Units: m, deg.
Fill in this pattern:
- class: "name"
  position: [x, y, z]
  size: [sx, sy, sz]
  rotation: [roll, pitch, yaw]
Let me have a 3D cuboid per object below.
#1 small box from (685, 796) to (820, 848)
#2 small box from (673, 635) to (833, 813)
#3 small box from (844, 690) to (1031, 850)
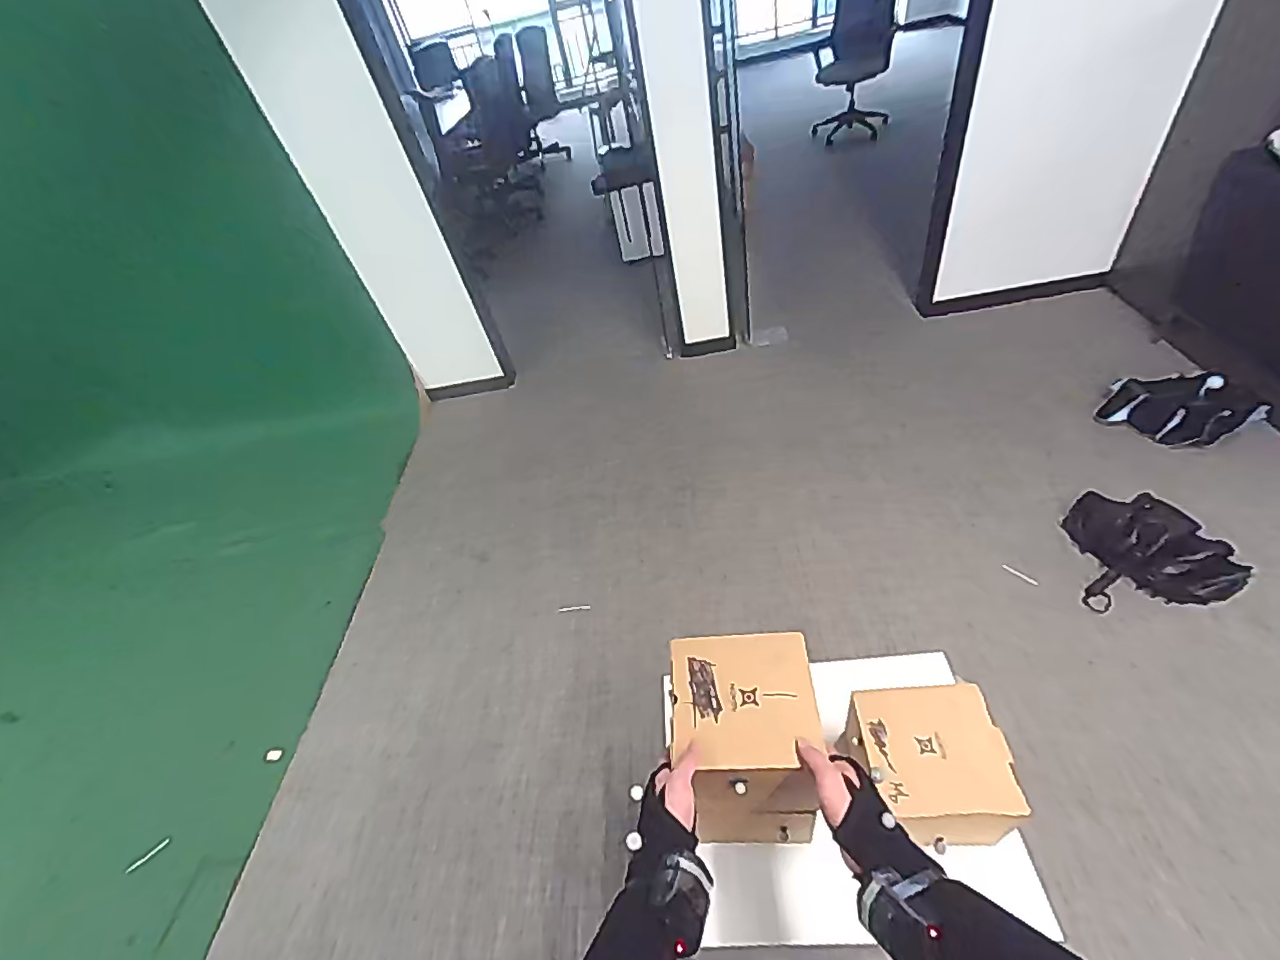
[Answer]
- class: "small box"
  position: [0.160, 0.439, 0.815]
  size: [0.179, 0.176, 0.168]
  rotation: [-6, 44, 8]
- class: "small box"
  position: [0.139, 0.319, 0.703]
  size: [0.179, 0.176, 0.168]
  rotation: [-4, 44, 7]
- class: "small box"
  position: [0.407, 0.418, 0.777]
  size: [0.179, 0.176, 0.168]
  rotation: [-7, 45, 9]
